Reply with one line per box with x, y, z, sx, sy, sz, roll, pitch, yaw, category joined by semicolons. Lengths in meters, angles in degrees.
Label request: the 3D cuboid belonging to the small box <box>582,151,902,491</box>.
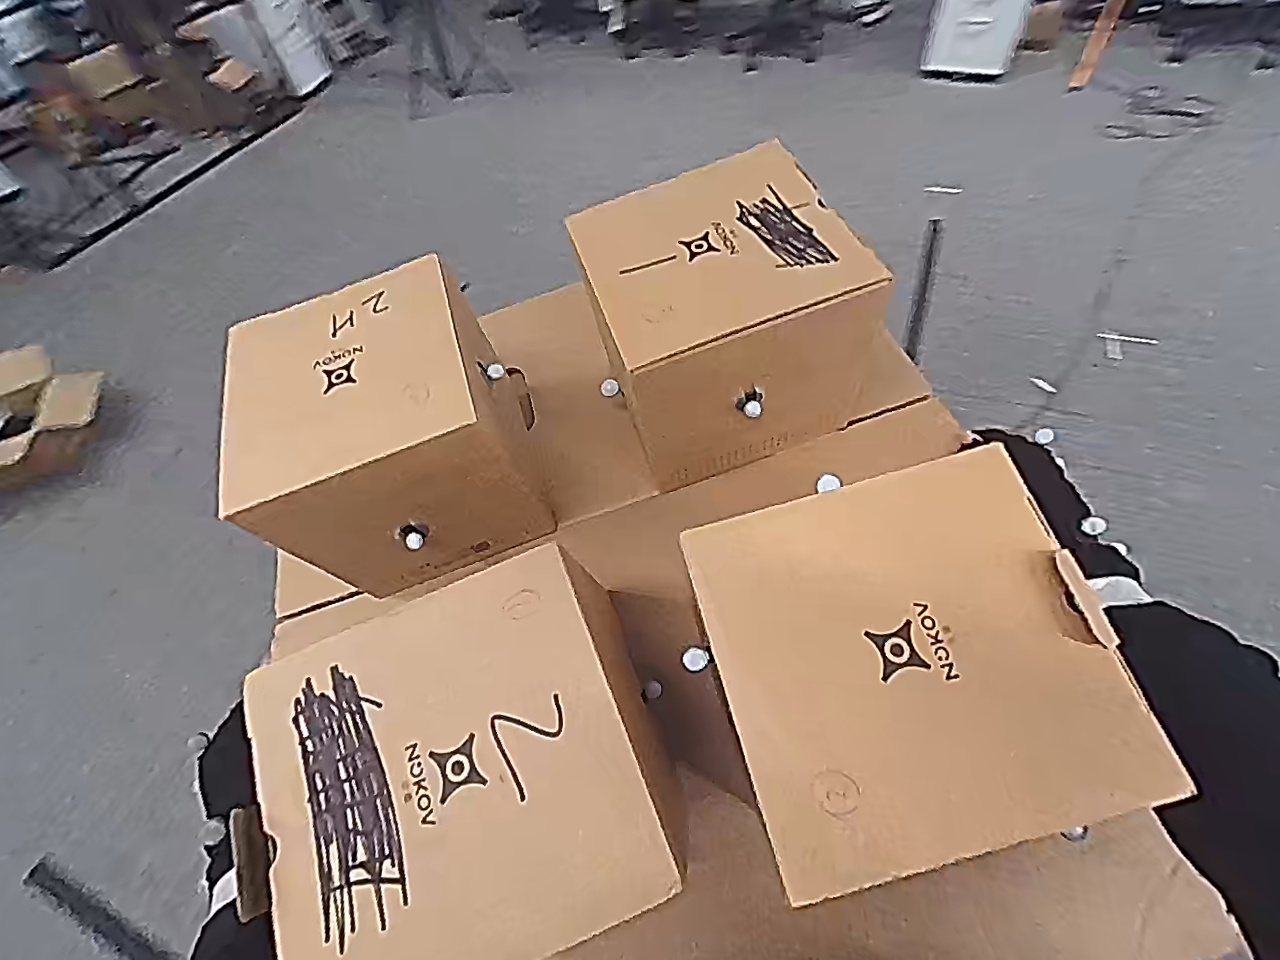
0.071;-0.116;0.437;0.179;0.176;0.168;-19;60;1;small box

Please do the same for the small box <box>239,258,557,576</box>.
-0.179;-0.036;0.441;0.168;0.176;0.179;-19;60;-1;small box
